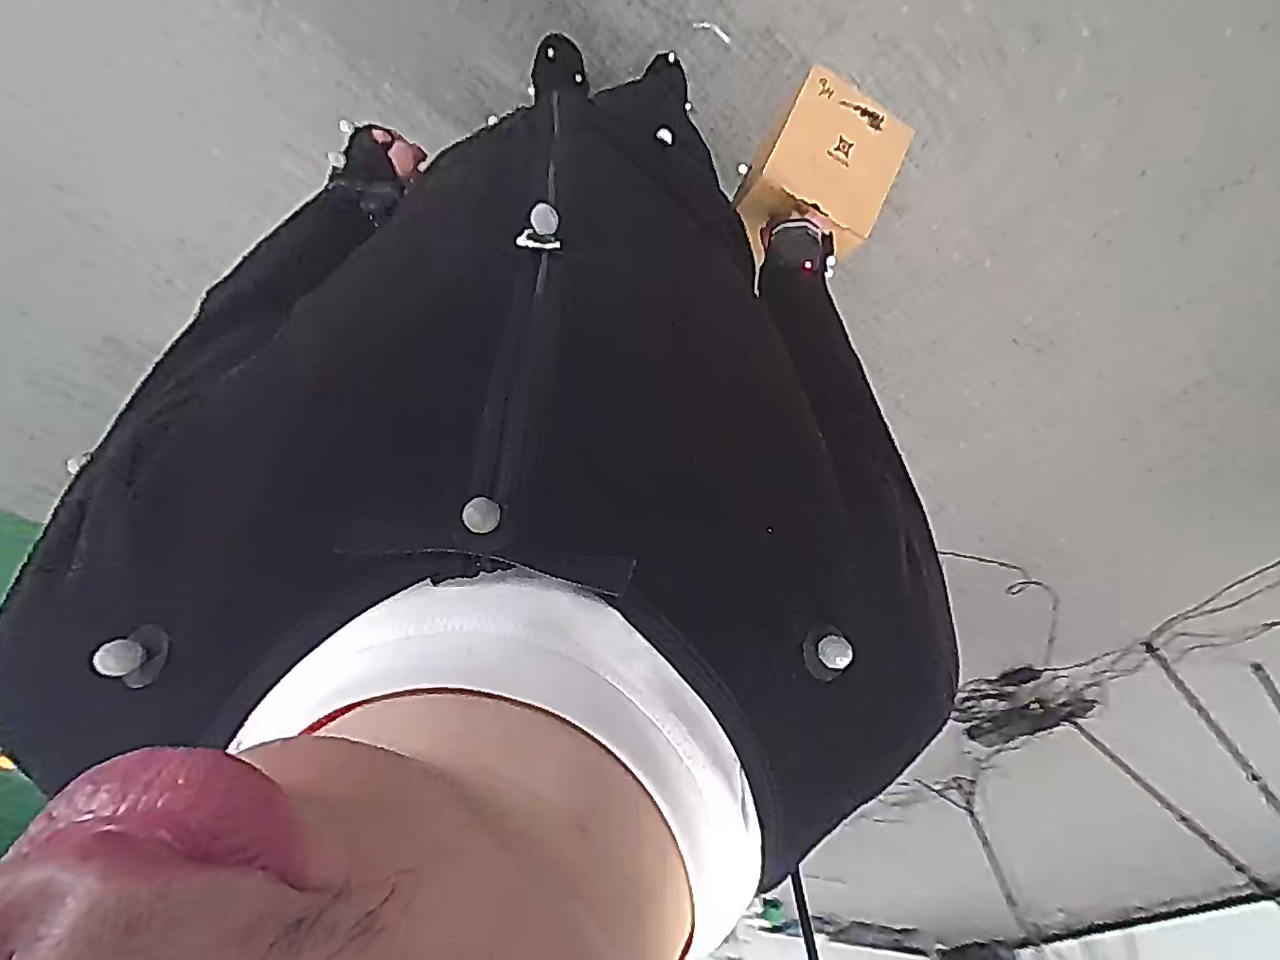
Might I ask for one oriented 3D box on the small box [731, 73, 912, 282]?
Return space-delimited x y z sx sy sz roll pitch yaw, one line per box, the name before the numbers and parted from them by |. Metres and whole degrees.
small box | 0.250 -0.422 0.789 0.168 0.176 0.179 23 85 -8
